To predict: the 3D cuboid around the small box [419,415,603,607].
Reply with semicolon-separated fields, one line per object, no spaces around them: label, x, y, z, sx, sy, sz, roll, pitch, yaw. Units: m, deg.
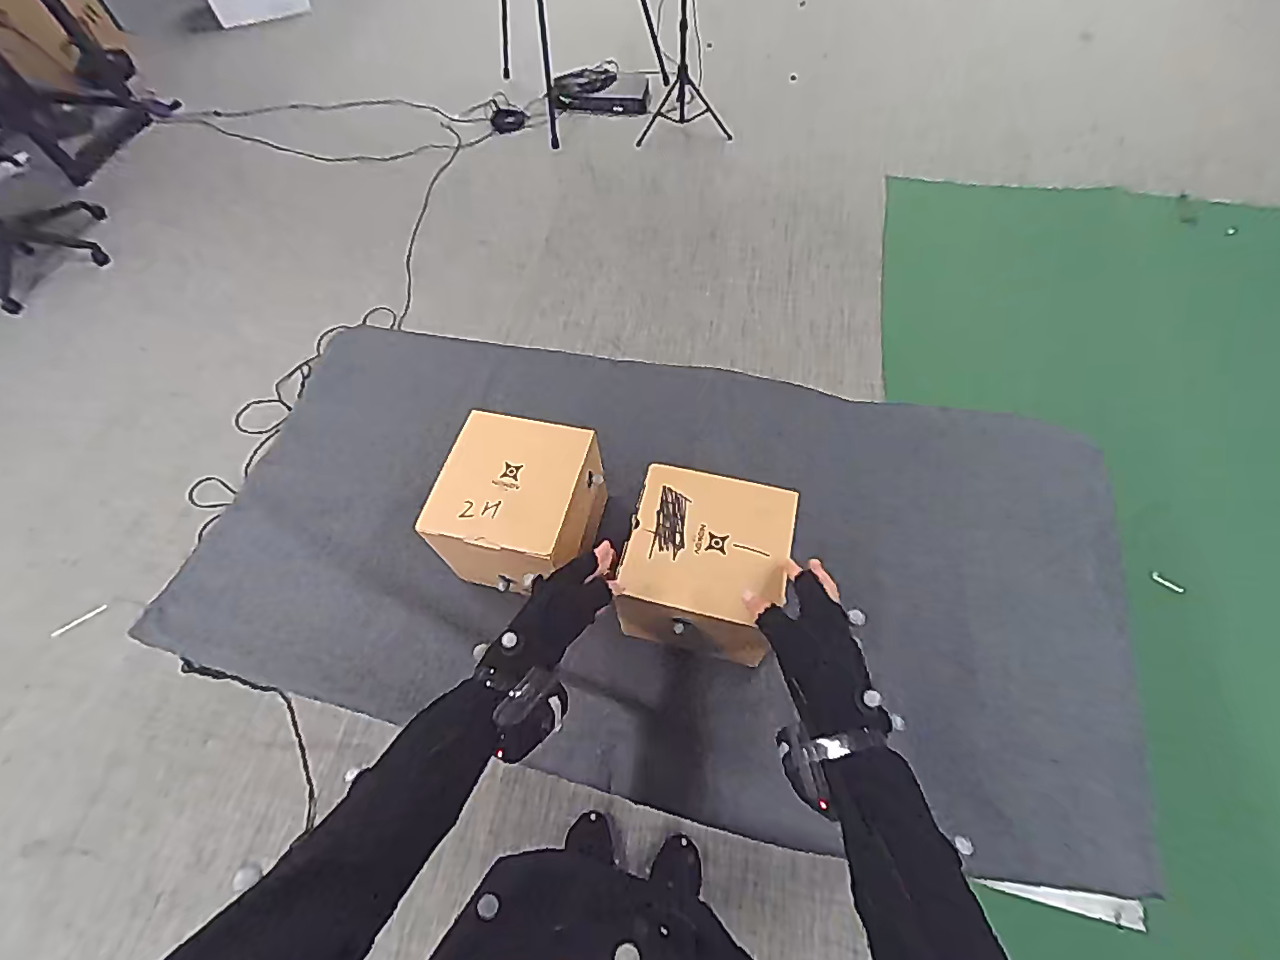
small box;-0.151;0.044;0.709;0.168;0.176;0.179;10;60;10
